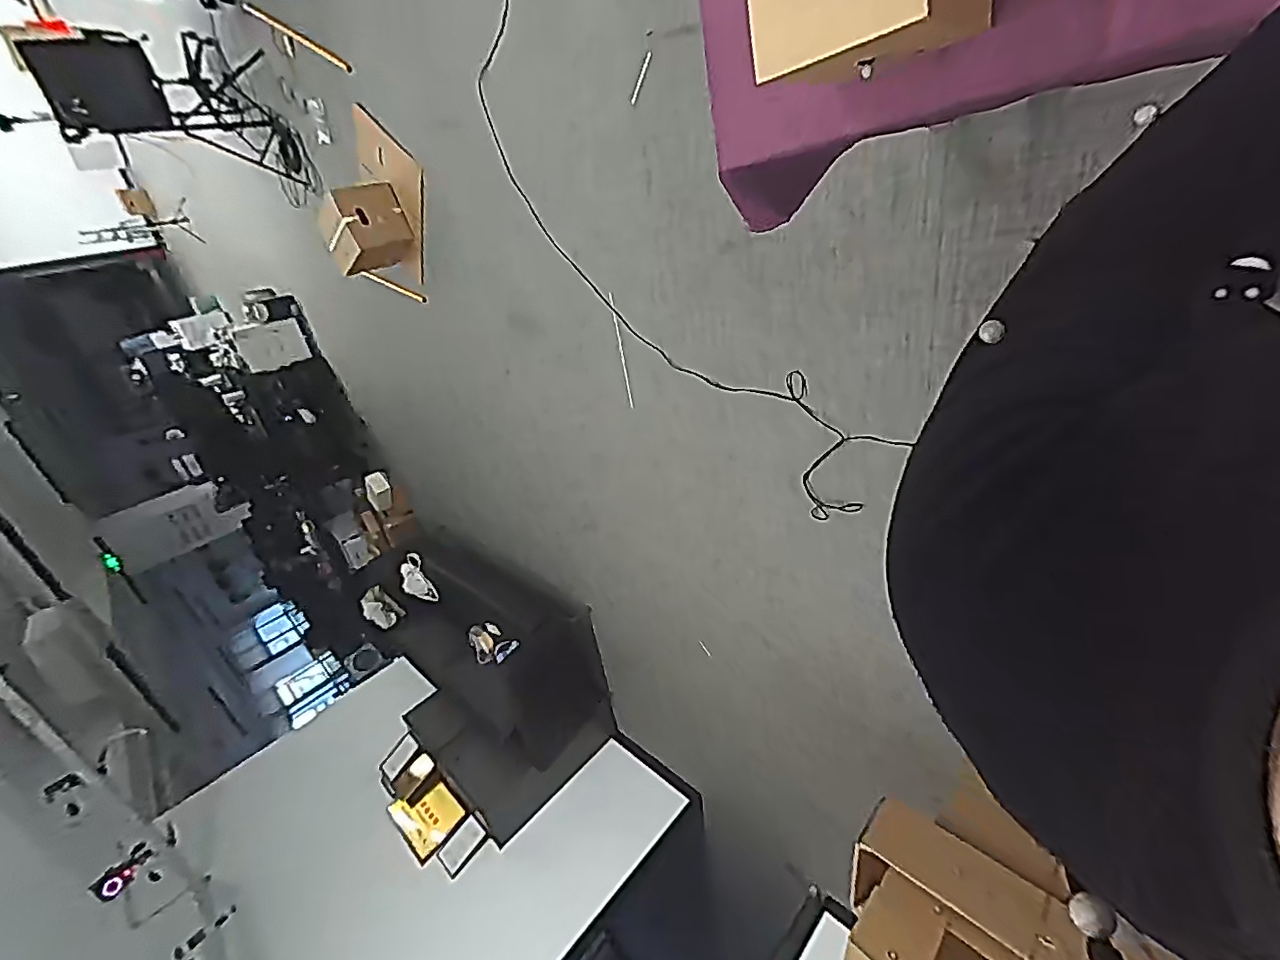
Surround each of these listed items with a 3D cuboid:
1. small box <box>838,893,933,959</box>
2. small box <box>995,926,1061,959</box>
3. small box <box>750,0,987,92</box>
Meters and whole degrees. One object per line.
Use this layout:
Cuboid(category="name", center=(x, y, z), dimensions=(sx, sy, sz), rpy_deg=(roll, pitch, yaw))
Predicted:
Cuboid(category="small box", center=(0.644, 1.255, 1.424), dimensions=(0.179, 0.176, 0.168), rpy_deg=(24, 132, 40))
Cuboid(category="small box", center=(0.973, 1.264, 1.325), dimensions=(0.179, 0.176, 0.168), rpy_deg=(22, 130, 41))
Cuboid(category="small box", center=(0.219, -0.497, 0.513), dimensions=(0.168, 0.176, 0.179), rpy_deg=(14, 125, 44))
